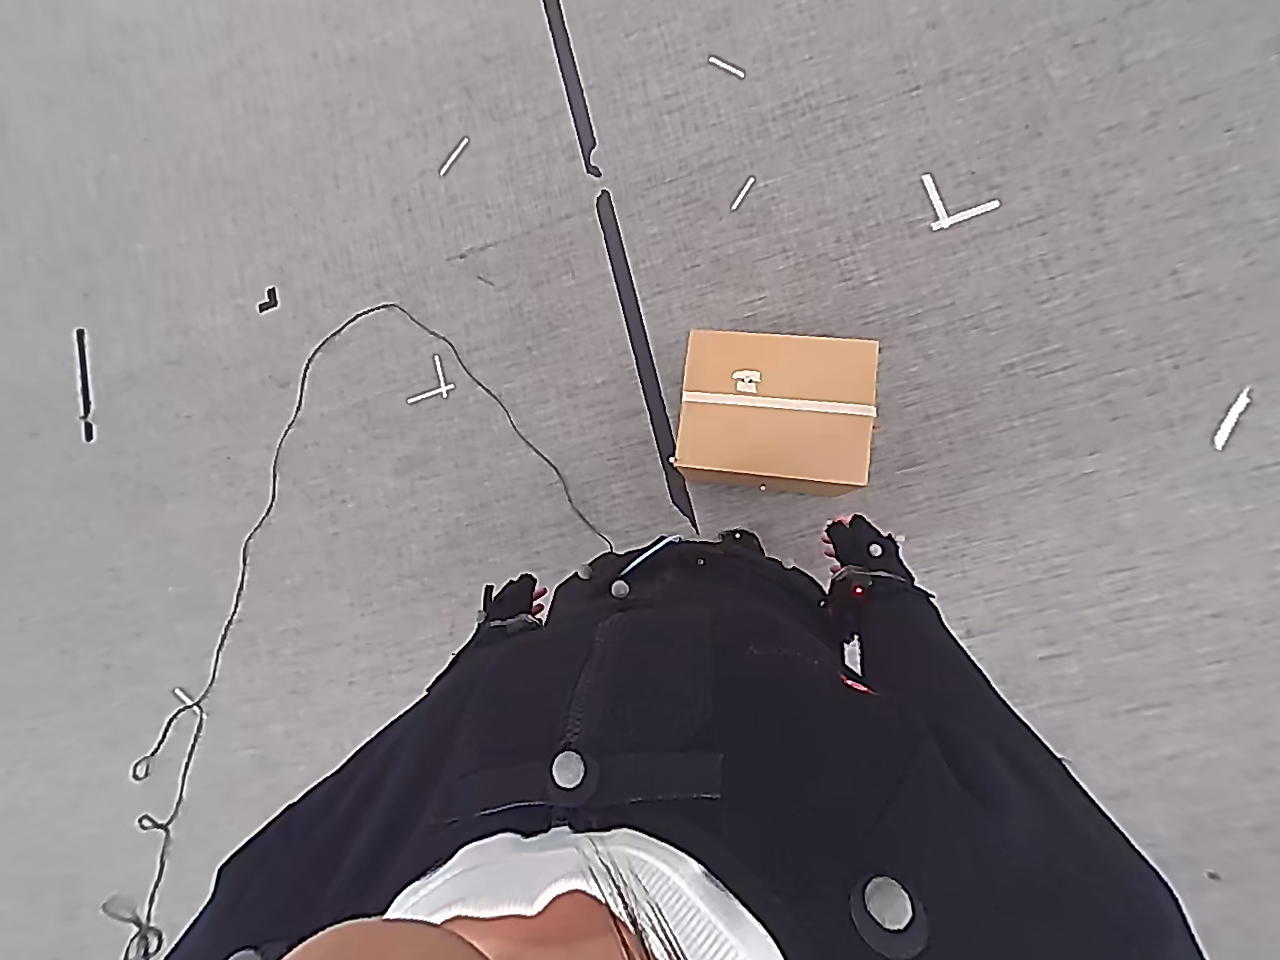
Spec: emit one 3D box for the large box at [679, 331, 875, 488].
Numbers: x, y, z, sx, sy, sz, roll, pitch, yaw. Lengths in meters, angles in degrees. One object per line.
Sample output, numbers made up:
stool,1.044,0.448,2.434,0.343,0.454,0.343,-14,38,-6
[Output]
large box,0.323,-0.155,1.322,0.408,0.320,0.320,6,84,11
